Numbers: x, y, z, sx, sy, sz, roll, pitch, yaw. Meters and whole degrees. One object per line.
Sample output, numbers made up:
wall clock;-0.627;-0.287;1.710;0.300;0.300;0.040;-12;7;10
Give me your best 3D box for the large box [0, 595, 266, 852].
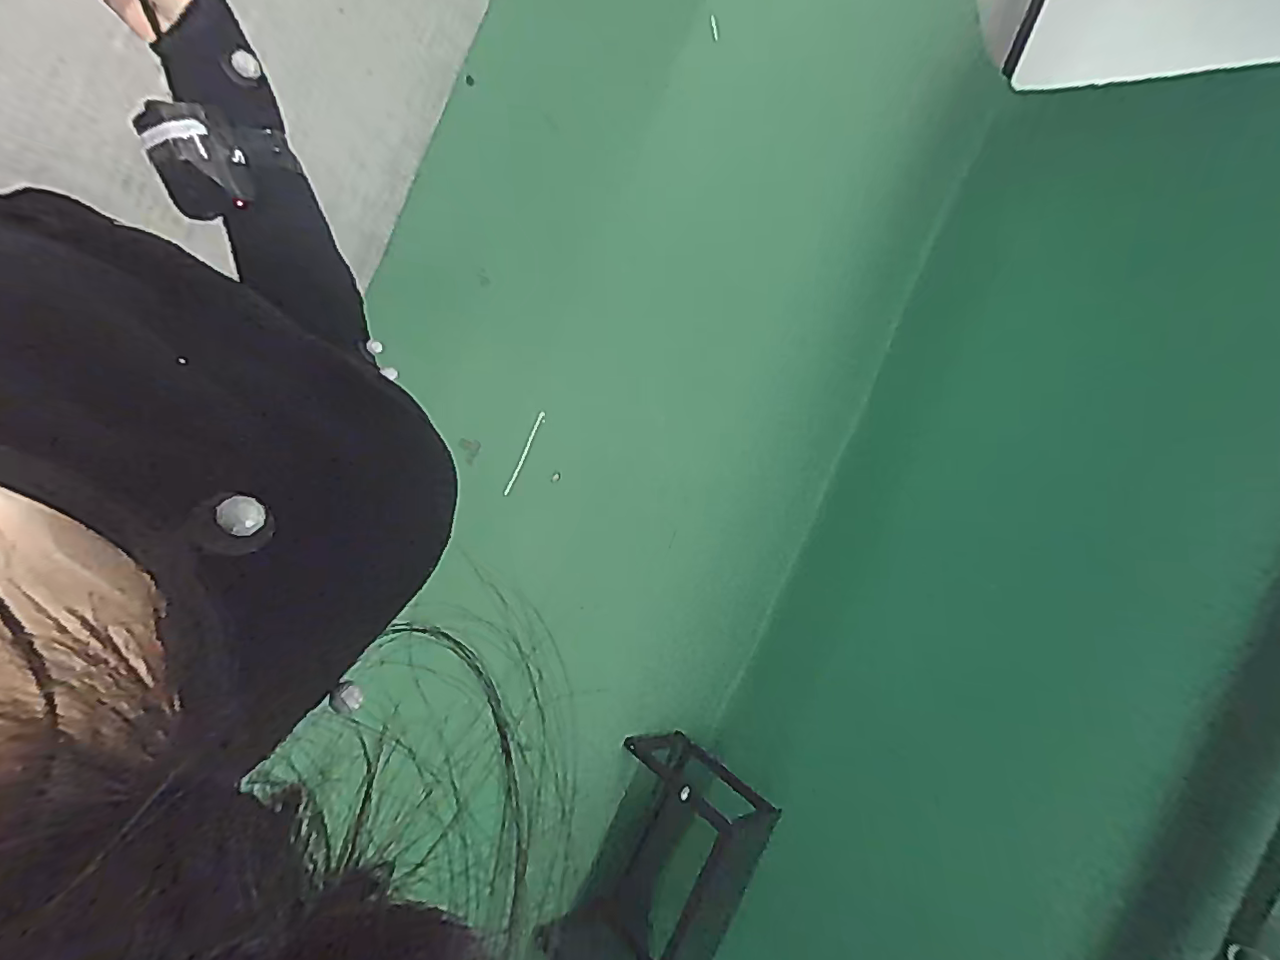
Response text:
large box;-1.100;0.477;1.168;0.408;0.320;0.320;1;108;-49
